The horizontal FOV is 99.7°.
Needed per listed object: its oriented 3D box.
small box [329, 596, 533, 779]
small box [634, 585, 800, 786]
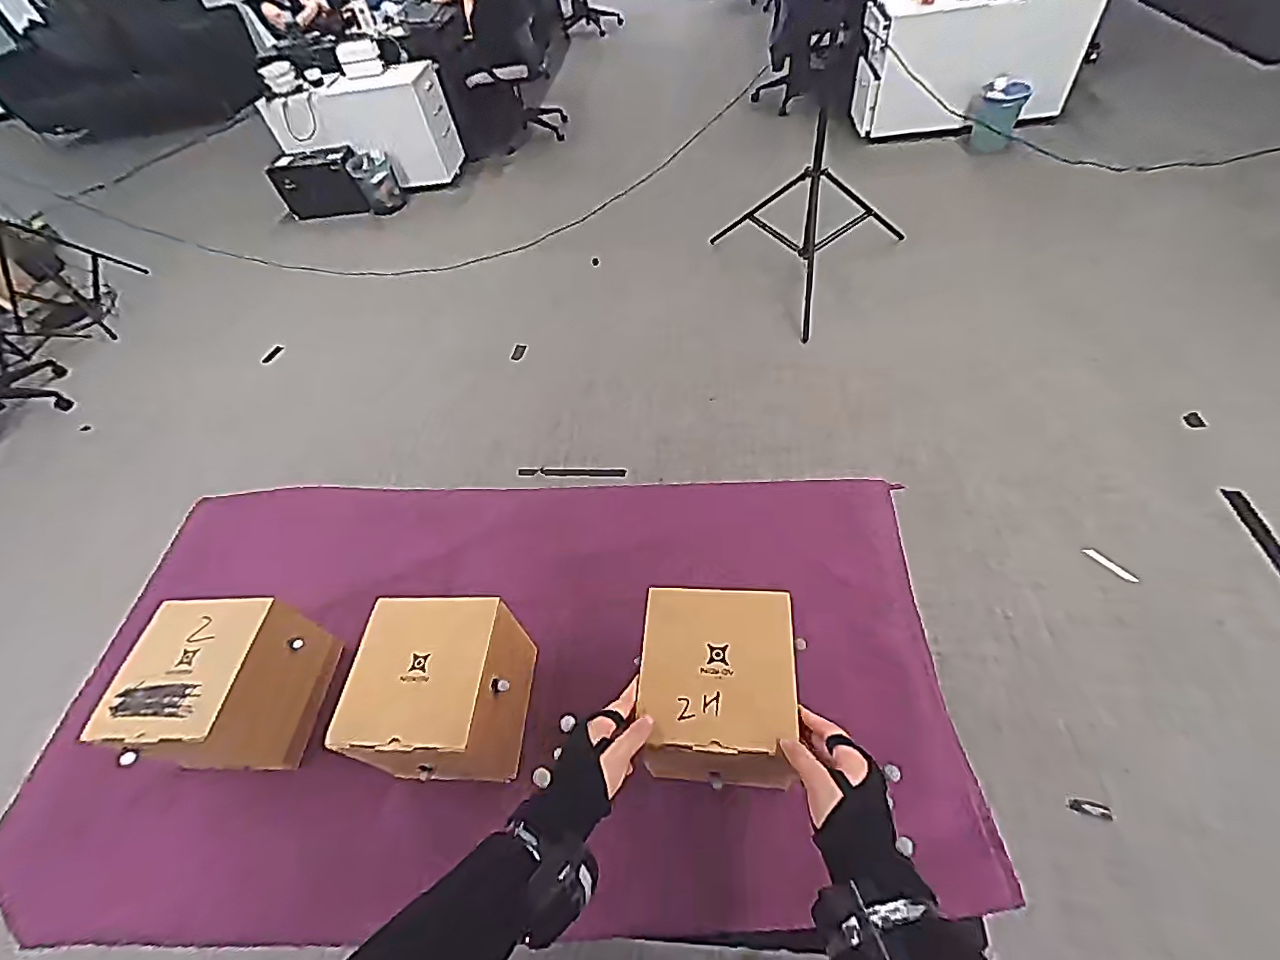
[{"bbox_3d":[-0.244,0.264,0.688,0.168,0.176,0.179,-2,52,8],"label":"small box"},{"bbox_3d":[0.093,0.244,0.643,0.168,0.176,0.179,0,52,10],"label":"small box"}]
